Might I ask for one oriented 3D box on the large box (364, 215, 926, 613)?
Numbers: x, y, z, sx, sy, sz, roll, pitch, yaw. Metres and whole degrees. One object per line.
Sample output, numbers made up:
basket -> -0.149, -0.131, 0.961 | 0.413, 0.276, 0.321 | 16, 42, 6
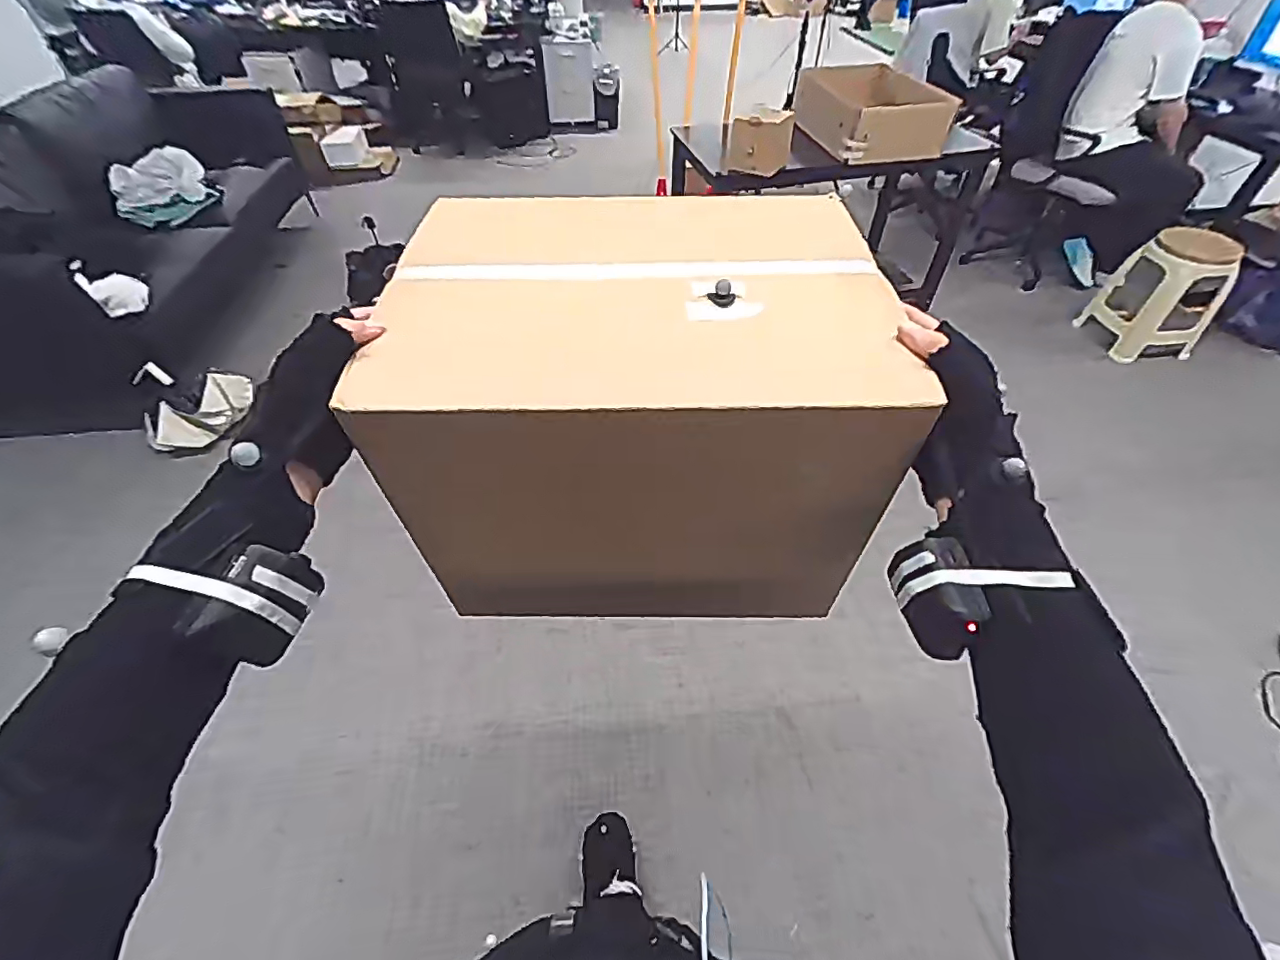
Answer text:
large box -> 0.001, -0.066, 0.583 | 0.408, 0.320, 0.320 | 0, 51, 0
